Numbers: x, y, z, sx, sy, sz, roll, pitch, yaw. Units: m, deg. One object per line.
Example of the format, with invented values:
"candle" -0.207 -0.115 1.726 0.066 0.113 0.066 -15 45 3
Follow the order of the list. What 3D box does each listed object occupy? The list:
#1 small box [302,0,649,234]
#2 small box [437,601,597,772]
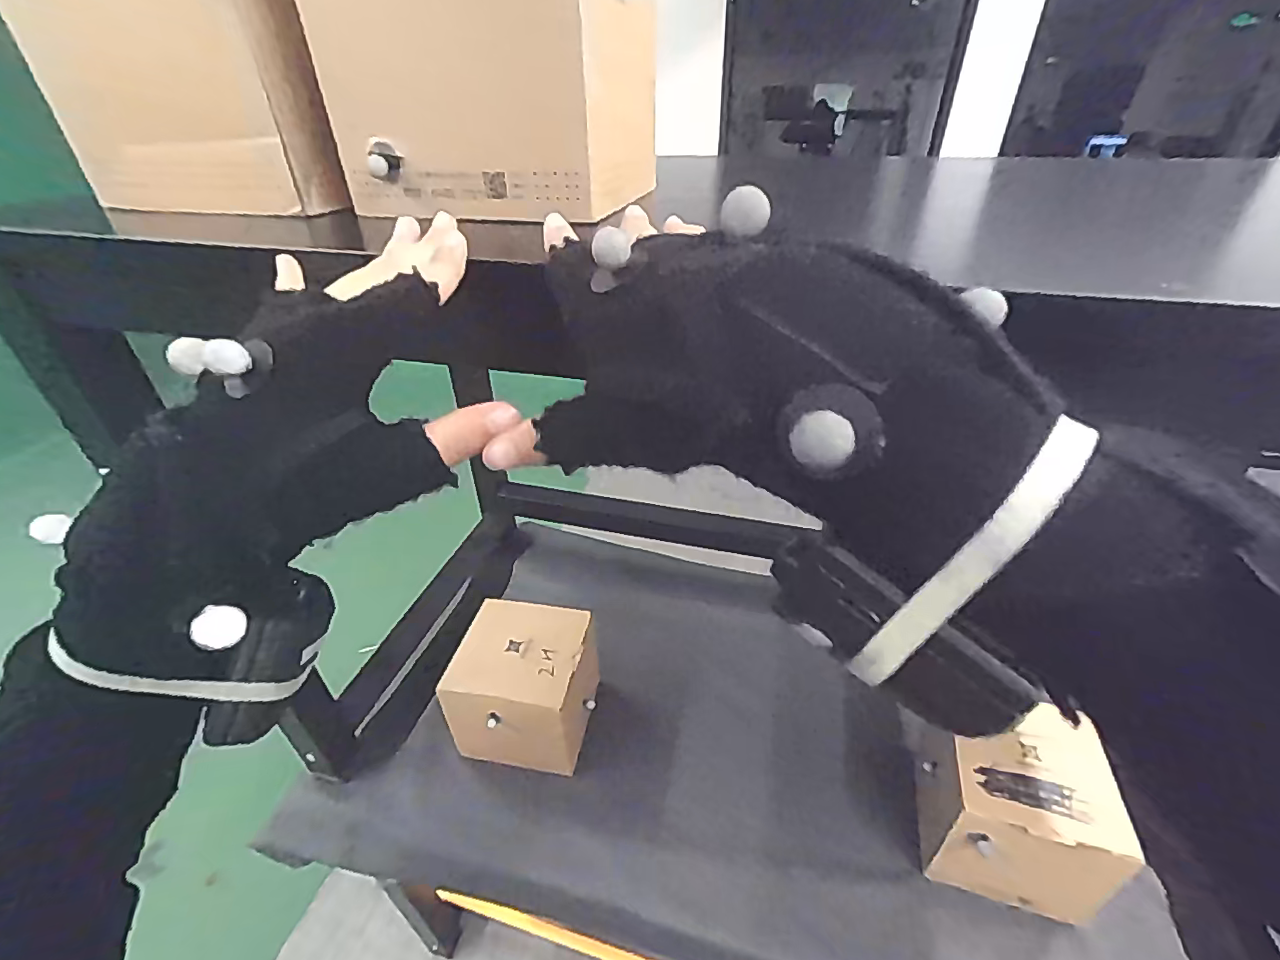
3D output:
"small box" -0.089 -0.270 0.365 0.168 0.176 0.179 7 35 12
"small box" -0.171 0.308 0.812 0.179 0.176 0.168 6 36 9
